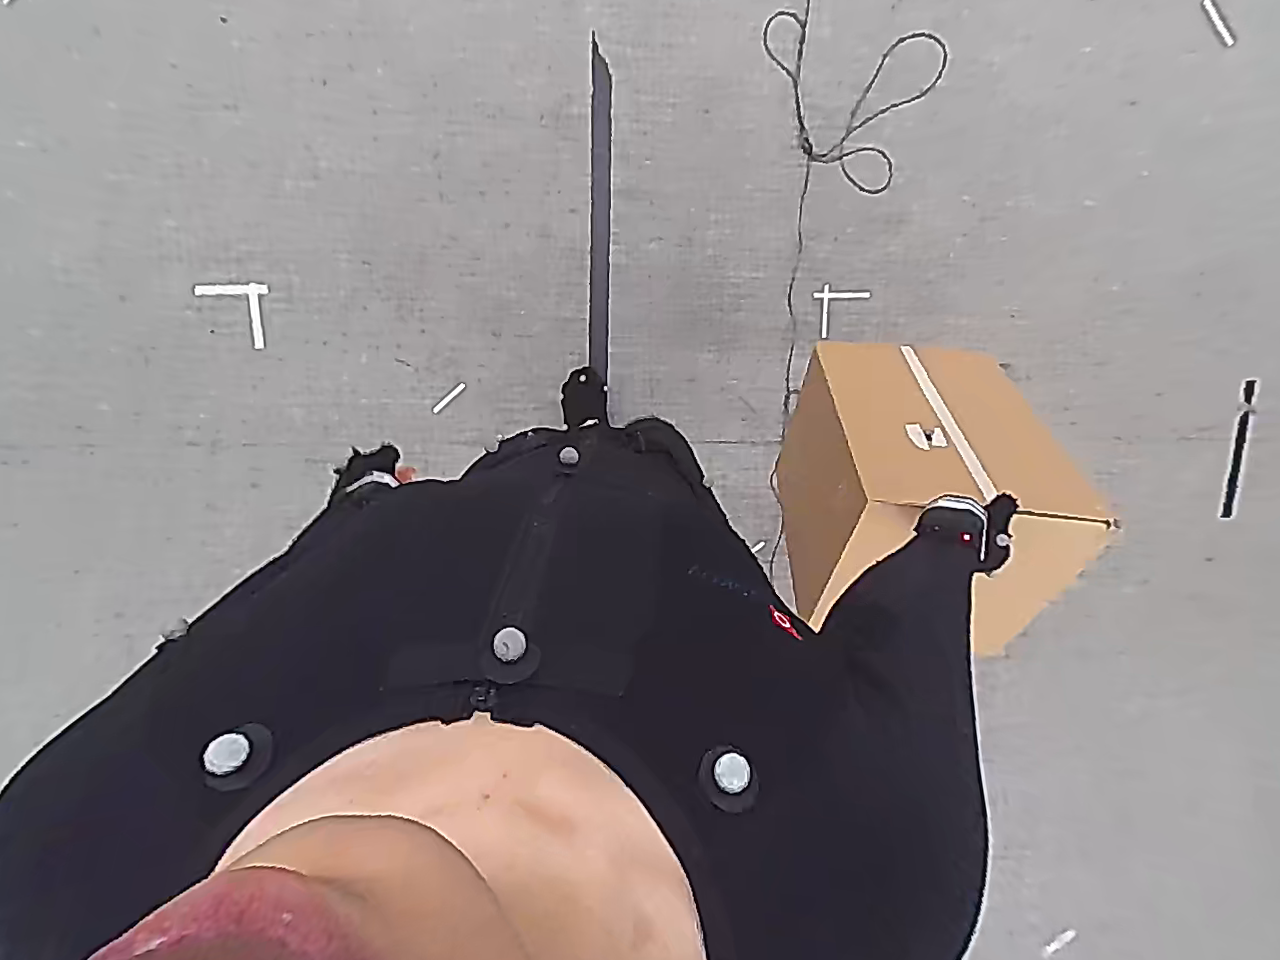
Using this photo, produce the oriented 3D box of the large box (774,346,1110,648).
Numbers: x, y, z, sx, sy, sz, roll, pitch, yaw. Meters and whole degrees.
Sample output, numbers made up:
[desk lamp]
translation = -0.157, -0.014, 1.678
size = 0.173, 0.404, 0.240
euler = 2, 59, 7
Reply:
[large box]
translation = 0.440, 0.019, 0.922
size = 0.320, 0.408, 0.320
euler = 5, 133, 0
